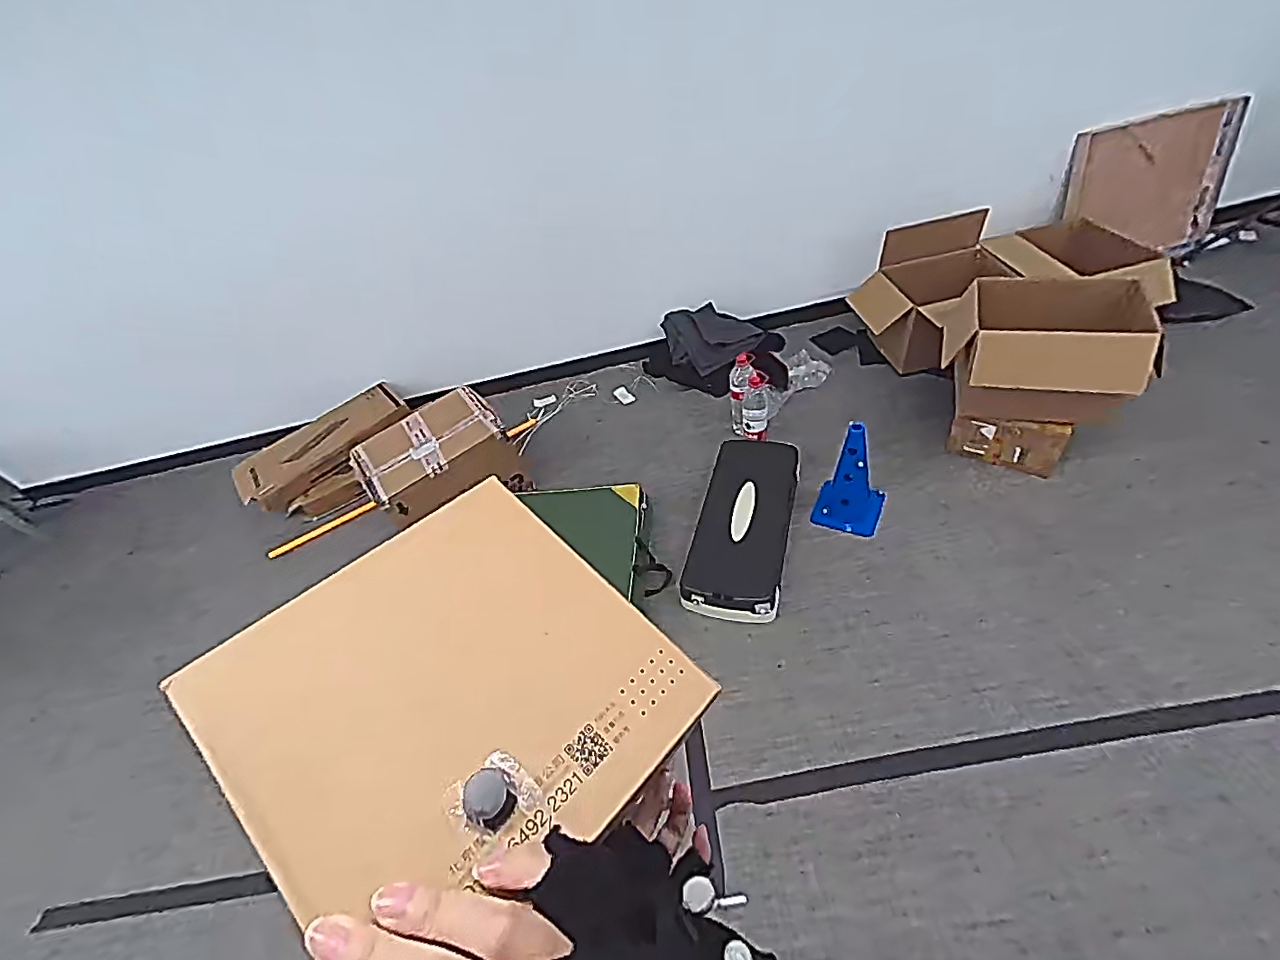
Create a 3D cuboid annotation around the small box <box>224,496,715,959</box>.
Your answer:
[{"bbox_3d":[-0.082,0.150,0.314,0.176,0.179,0.168,39,56,21],"label":"small box"}]
